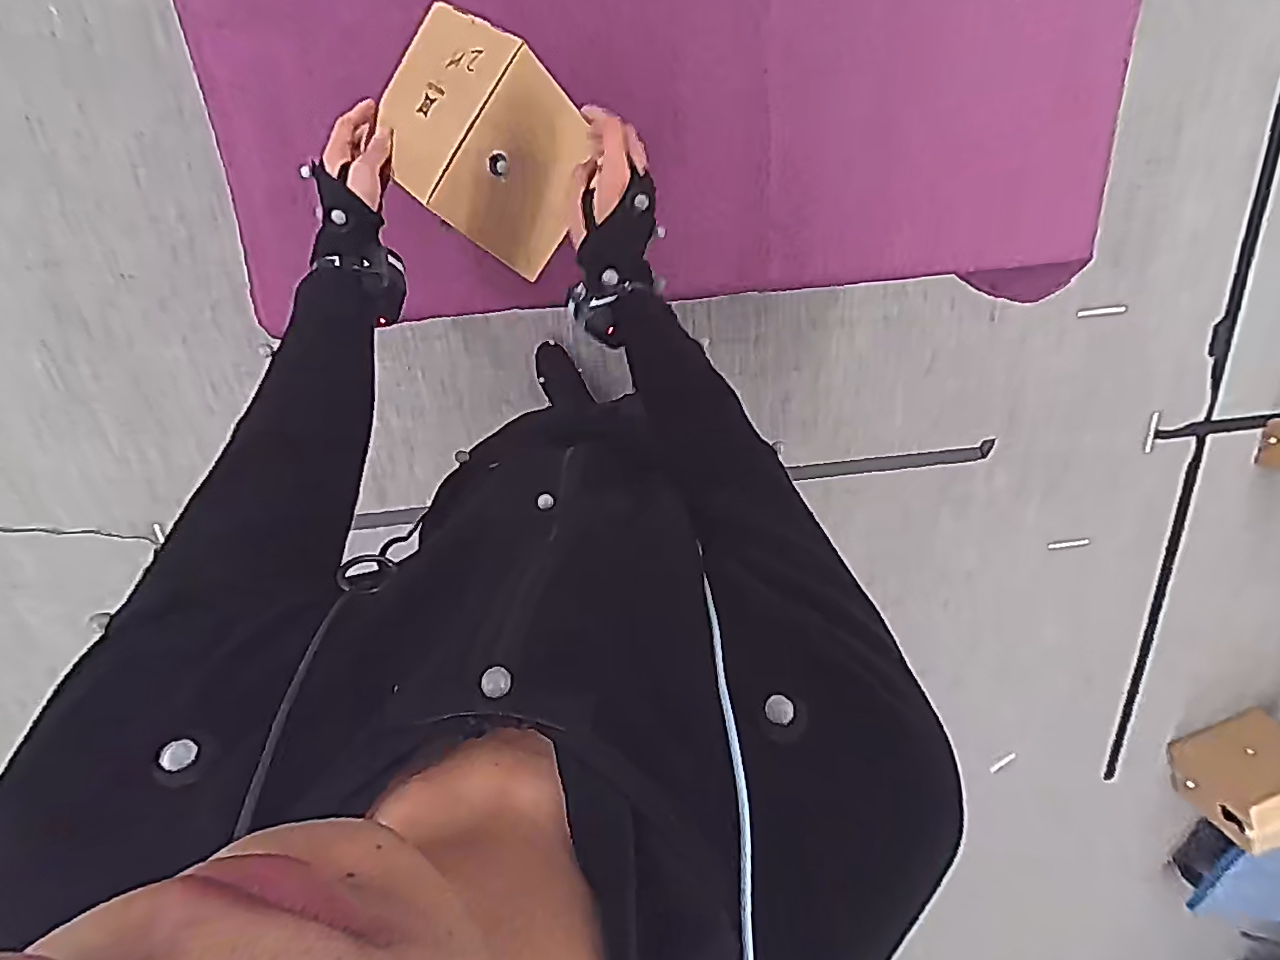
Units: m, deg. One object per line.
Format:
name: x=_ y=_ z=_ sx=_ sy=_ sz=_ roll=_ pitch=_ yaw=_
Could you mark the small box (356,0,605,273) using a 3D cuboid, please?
small box: x=-0.171 y=-0.370 z=0.608 sx=0.168 sy=0.176 sz=0.179 roll=45 pitch=103 yaw=26
